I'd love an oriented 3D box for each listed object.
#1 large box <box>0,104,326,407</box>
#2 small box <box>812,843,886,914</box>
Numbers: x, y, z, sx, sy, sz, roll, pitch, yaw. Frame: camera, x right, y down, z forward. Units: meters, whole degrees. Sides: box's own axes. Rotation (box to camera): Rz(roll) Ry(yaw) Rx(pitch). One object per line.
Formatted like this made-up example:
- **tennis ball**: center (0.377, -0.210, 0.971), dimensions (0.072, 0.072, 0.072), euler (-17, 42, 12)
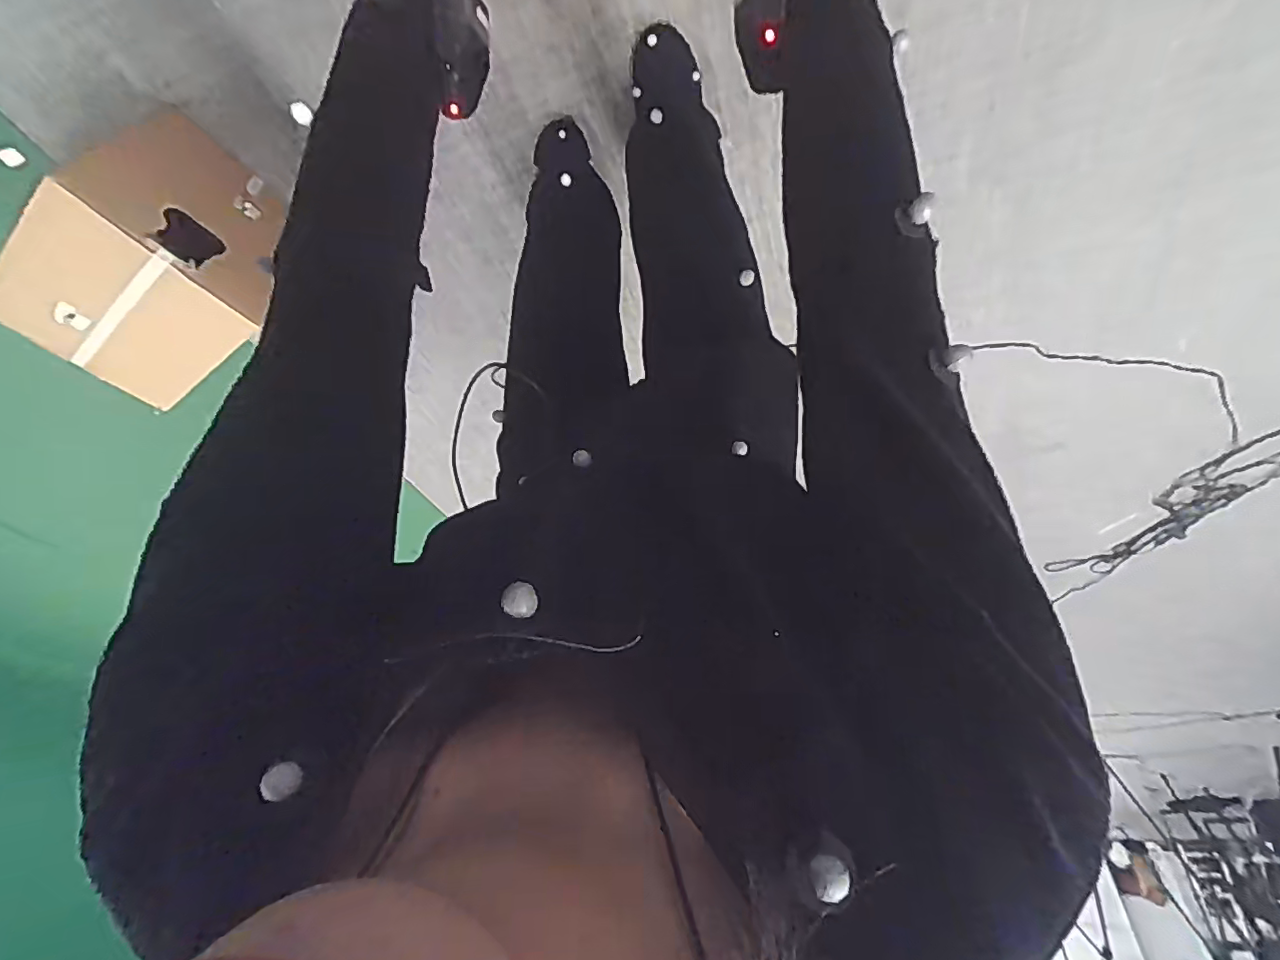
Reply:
- **large box**: center (-0.910, -0.415, 1.054), dimensions (0.408, 0.320, 0.320), euler (-21, 135, 28)
- **small box**: center (0.655, 1.269, 1.723), dimensions (0.179, 0.176, 0.168), euler (-3, 140, 6)
